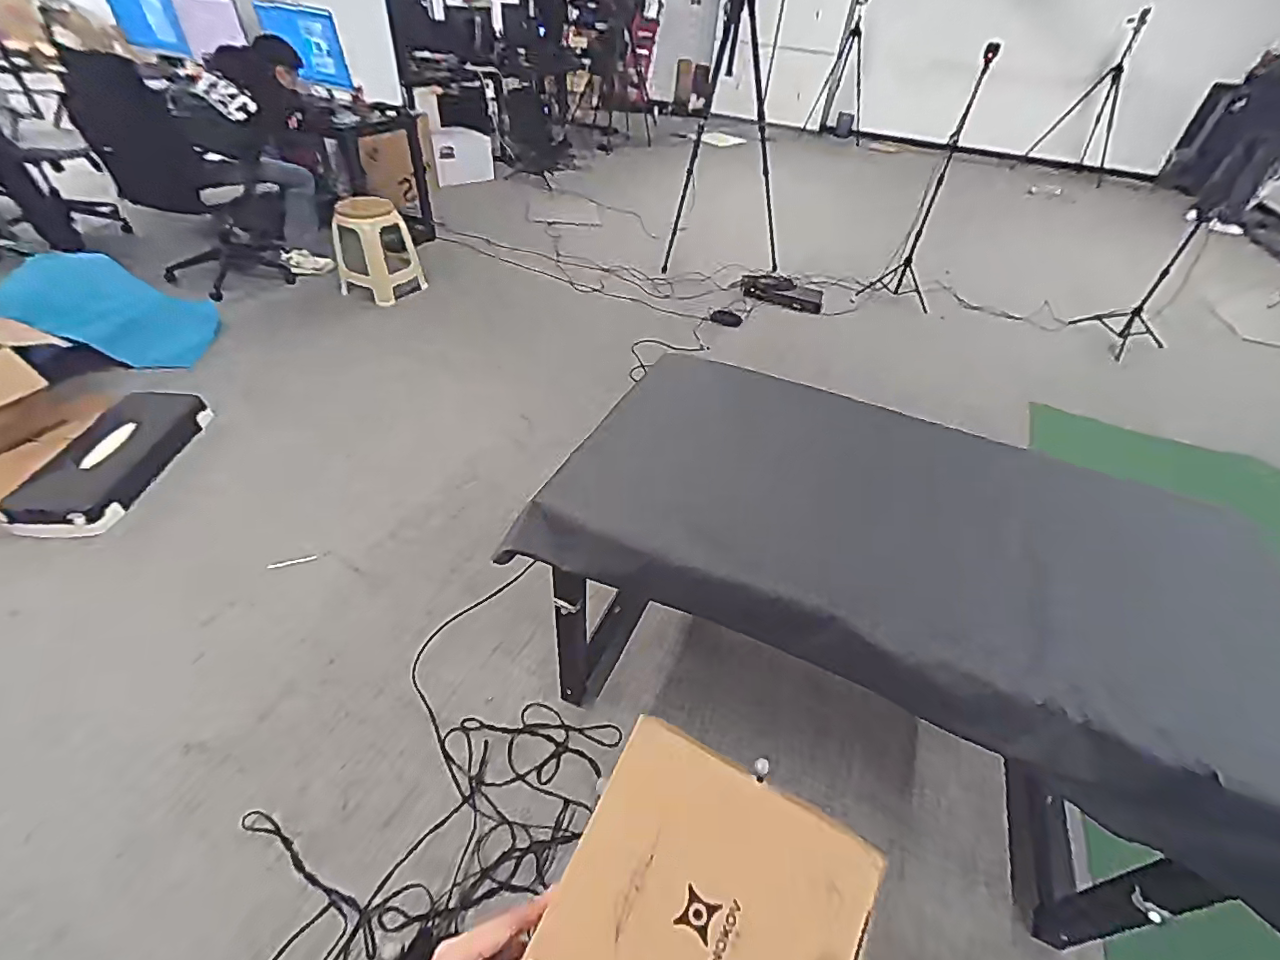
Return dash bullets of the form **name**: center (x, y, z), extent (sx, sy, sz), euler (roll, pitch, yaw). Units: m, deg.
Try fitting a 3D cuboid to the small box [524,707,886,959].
- **small box**: center (0.048, 0.290, 0.405), extent (0.179, 0.176, 0.168), euler (23, 69, 16)
